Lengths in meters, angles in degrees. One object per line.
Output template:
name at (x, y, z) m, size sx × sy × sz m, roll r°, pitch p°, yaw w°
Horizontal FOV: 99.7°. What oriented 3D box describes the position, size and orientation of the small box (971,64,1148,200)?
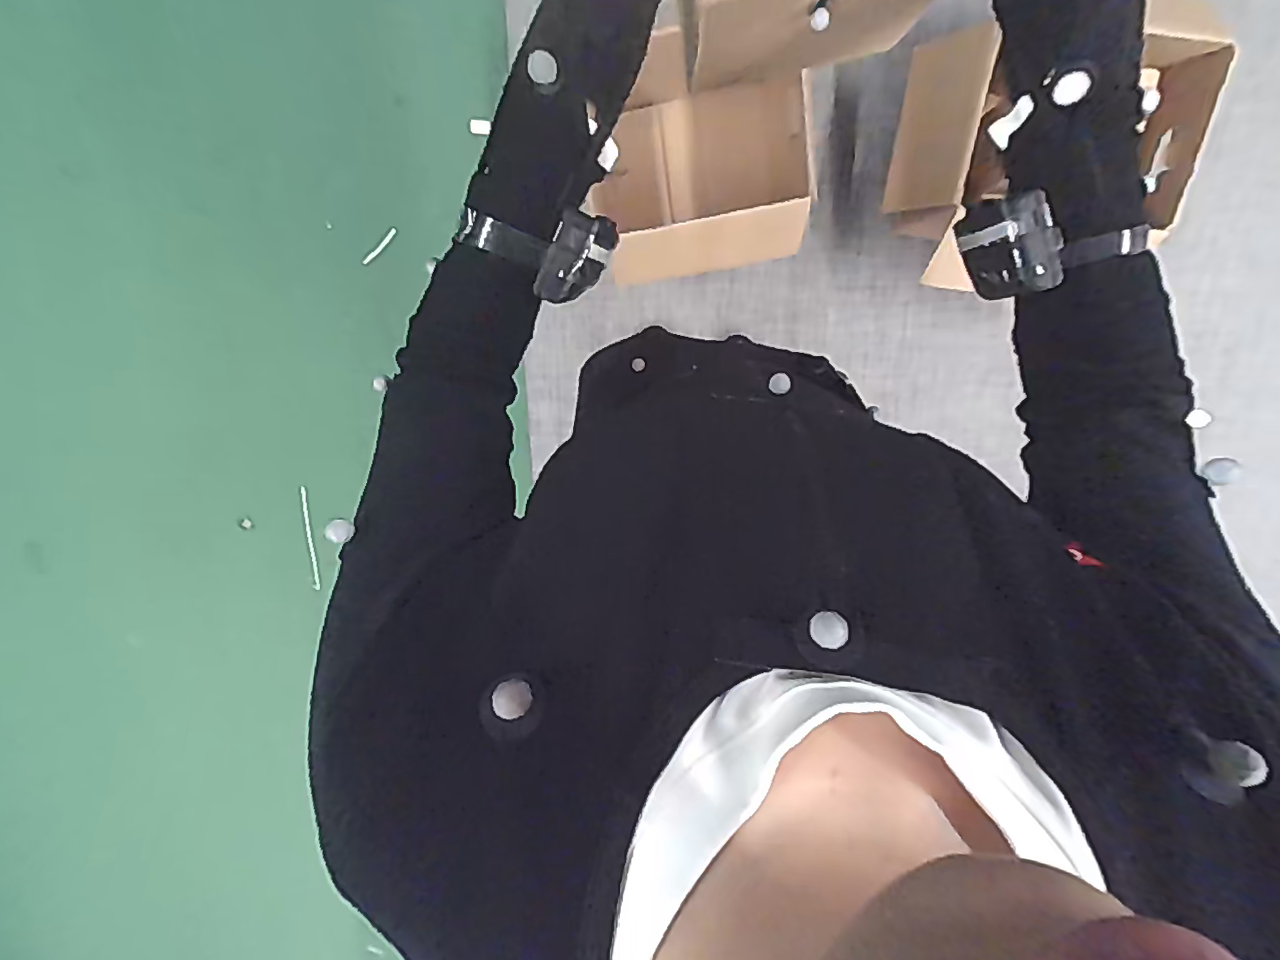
small box at (0.766, -0.634, 1.008) m, size 0.179 × 0.176 × 0.168 m, roll 6°, pitch 104°, yaw 2°
